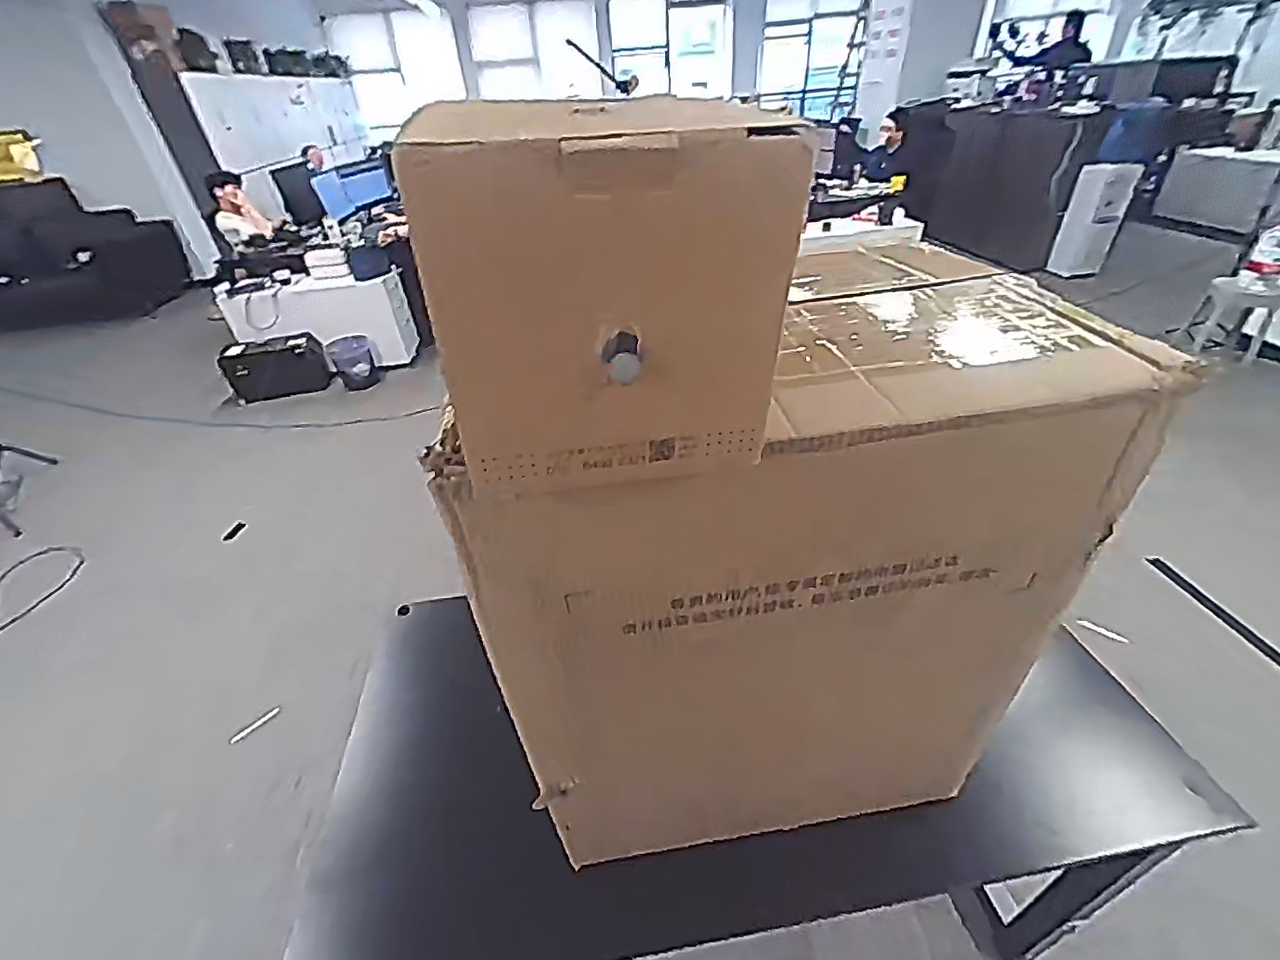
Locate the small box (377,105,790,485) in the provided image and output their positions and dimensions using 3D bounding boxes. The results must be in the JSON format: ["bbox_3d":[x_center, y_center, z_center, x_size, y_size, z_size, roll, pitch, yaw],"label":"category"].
[{"bbox_3d":[-0.031,-0.110,0.319,0.168,0.176,0.179,-8,39,-9],"label":"small box"}]
